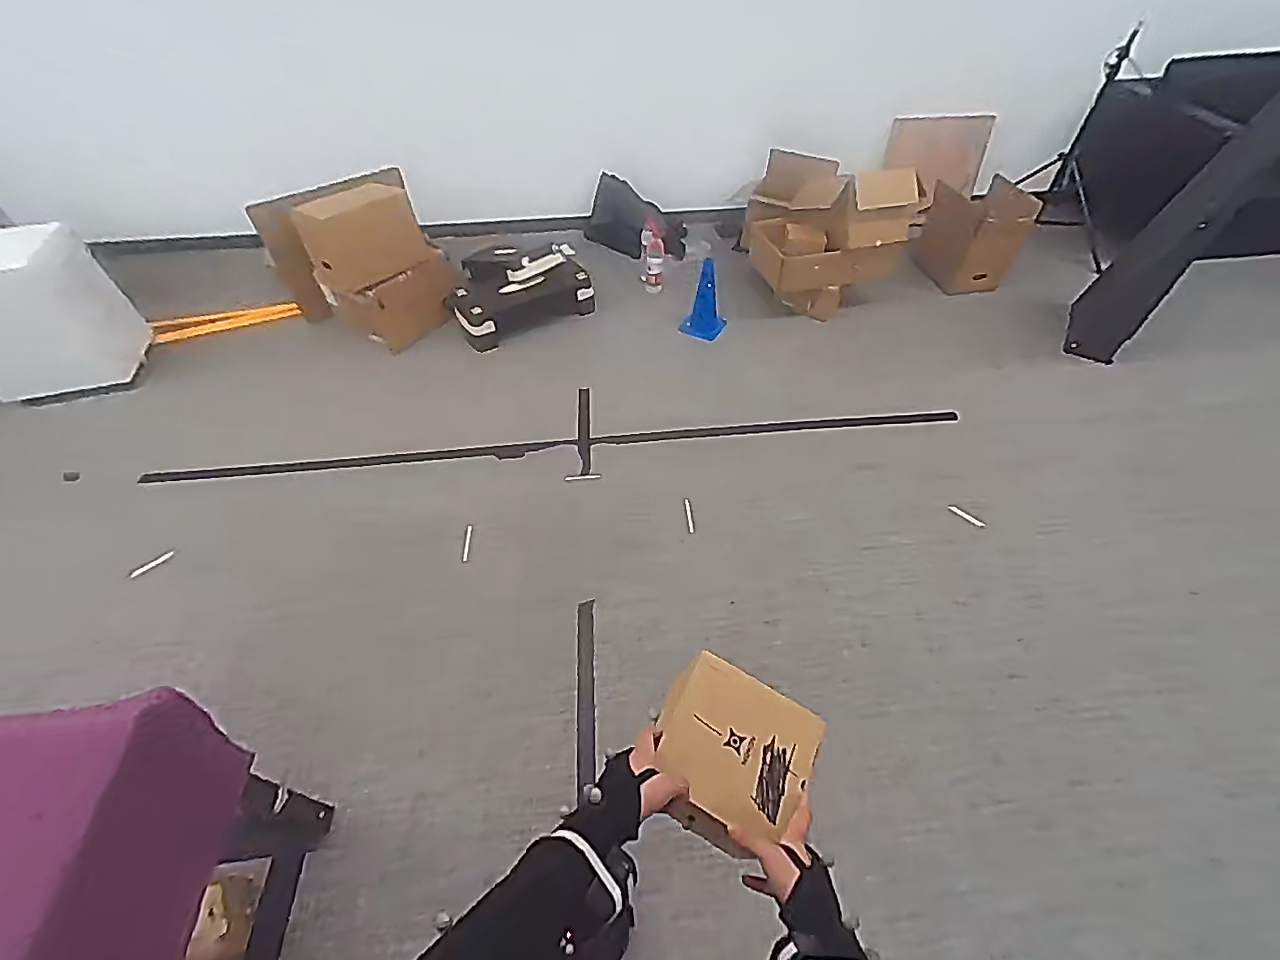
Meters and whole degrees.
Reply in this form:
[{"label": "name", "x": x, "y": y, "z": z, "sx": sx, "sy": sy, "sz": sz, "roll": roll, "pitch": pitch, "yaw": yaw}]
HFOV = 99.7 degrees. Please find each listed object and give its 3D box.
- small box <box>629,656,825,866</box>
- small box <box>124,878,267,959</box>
[{"label": "small box", "x": 0.105, "y": 0.364, "z": 0.705, "sx": 0.179, "sy": 0.176, "sz": 0.168, "roll": 29, "pitch": 56, "yaw": 9}, {"label": "small box", "x": -0.955, "y": 1.008, "z": 1.168, "sx": 0.179, "sy": 0.176, "sz": 0.168, "roll": -28, "pitch": 55, "yaw": -20}]
